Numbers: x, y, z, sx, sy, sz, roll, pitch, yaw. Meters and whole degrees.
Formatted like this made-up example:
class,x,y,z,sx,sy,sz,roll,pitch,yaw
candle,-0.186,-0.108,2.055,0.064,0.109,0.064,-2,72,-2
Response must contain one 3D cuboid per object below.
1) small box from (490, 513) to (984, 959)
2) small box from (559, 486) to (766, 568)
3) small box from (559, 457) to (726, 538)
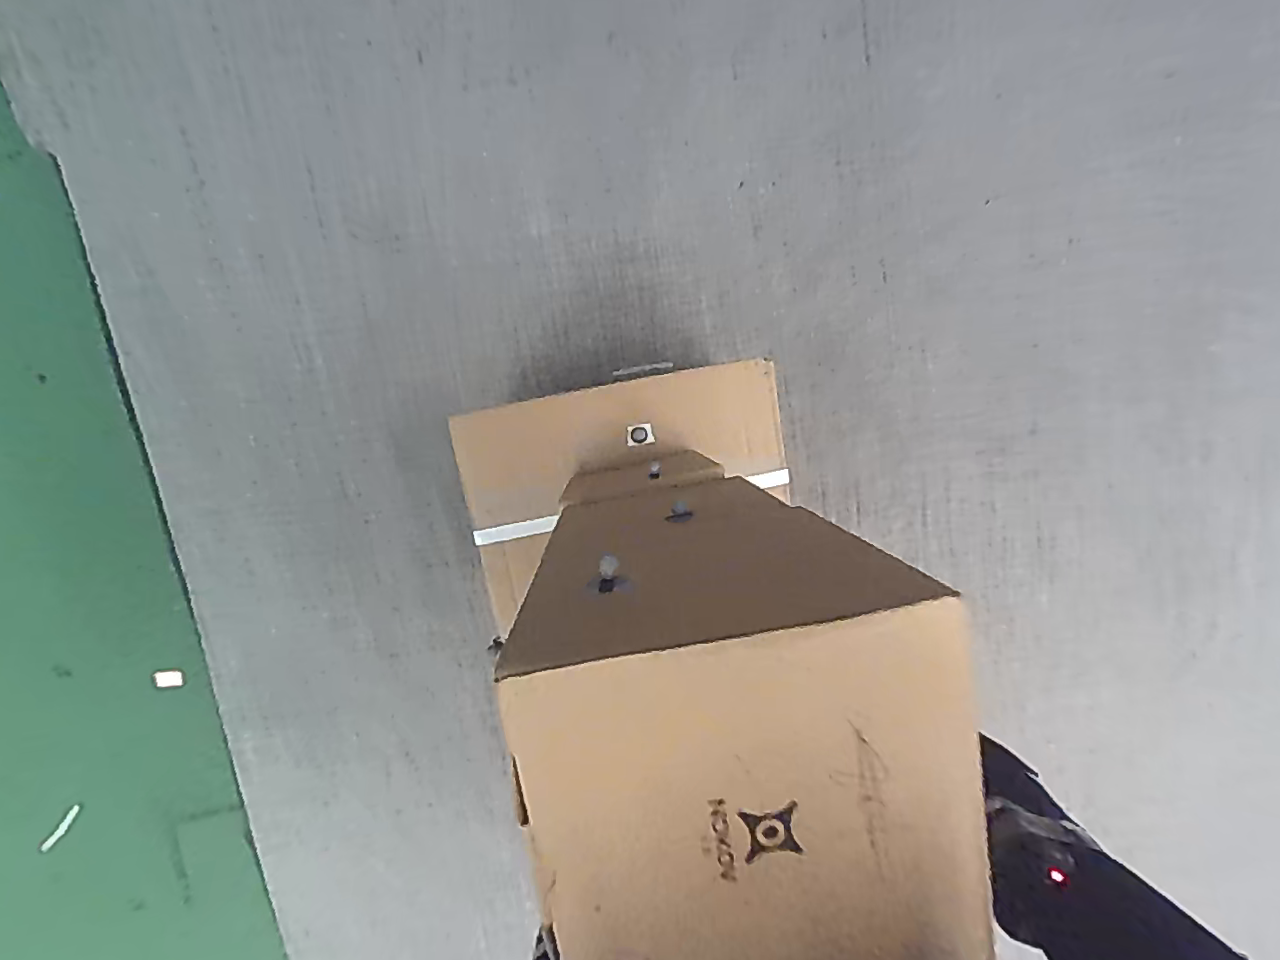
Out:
class,x,y,z,sx,sy,sz,roll,pitch,yaw
small box,0.039,0.125,0.289,0.179,0.176,0.168,-11,99,-2
small box,0.033,0.110,0.450,0.179,0.176,0.168,-14,98,-1
small box,0.017,0.082,0.611,0.168,0.176,0.179,-13,99,0
